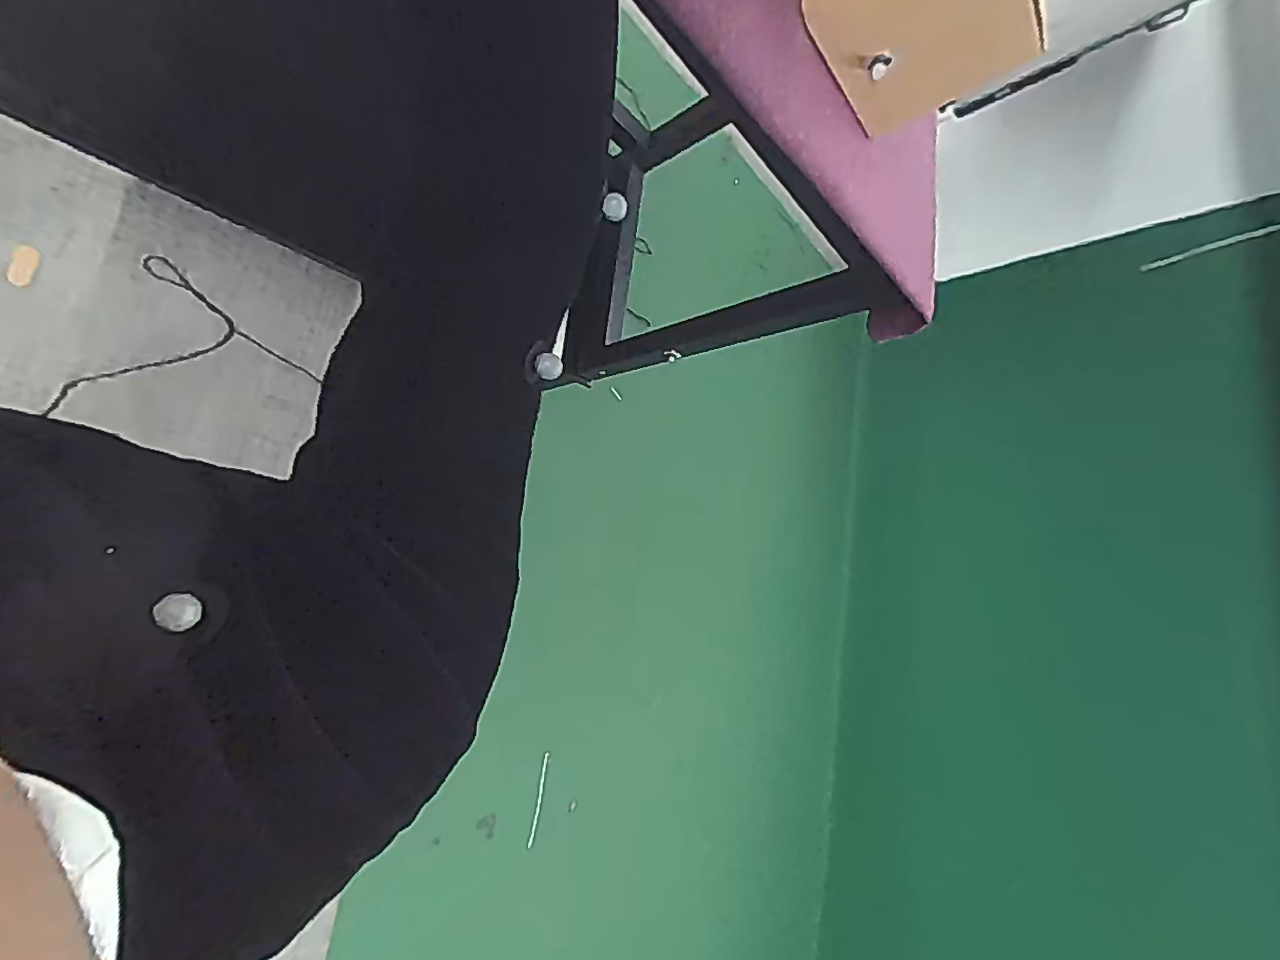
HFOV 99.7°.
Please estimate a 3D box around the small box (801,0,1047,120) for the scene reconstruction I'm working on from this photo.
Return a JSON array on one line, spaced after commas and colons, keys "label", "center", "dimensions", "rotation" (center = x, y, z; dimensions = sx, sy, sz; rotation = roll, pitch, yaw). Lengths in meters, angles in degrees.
[{"label": "small box", "center": [0.275, -0.496, 0.523], "dimensions": [0.179, 0.176, 0.168], "rotation": [19, 72, -44]}]
